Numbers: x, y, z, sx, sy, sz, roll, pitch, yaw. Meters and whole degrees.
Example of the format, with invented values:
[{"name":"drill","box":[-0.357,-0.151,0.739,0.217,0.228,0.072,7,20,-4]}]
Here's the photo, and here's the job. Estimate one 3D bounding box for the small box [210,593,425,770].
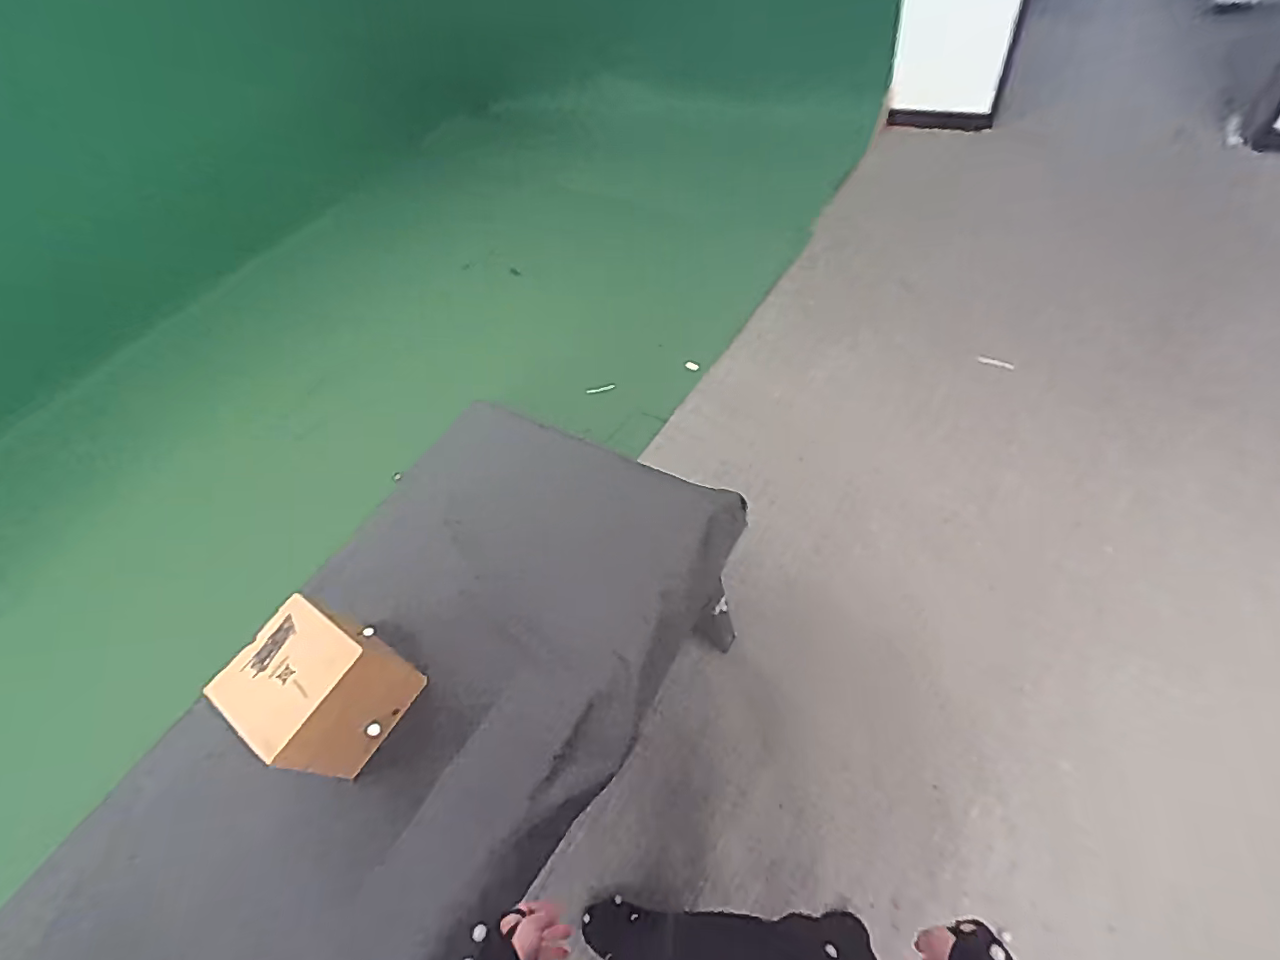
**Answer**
[{"name":"small box","box":[-0.463,0.302,0.799,0.179,0.176,0.168,25,66,25]}]
